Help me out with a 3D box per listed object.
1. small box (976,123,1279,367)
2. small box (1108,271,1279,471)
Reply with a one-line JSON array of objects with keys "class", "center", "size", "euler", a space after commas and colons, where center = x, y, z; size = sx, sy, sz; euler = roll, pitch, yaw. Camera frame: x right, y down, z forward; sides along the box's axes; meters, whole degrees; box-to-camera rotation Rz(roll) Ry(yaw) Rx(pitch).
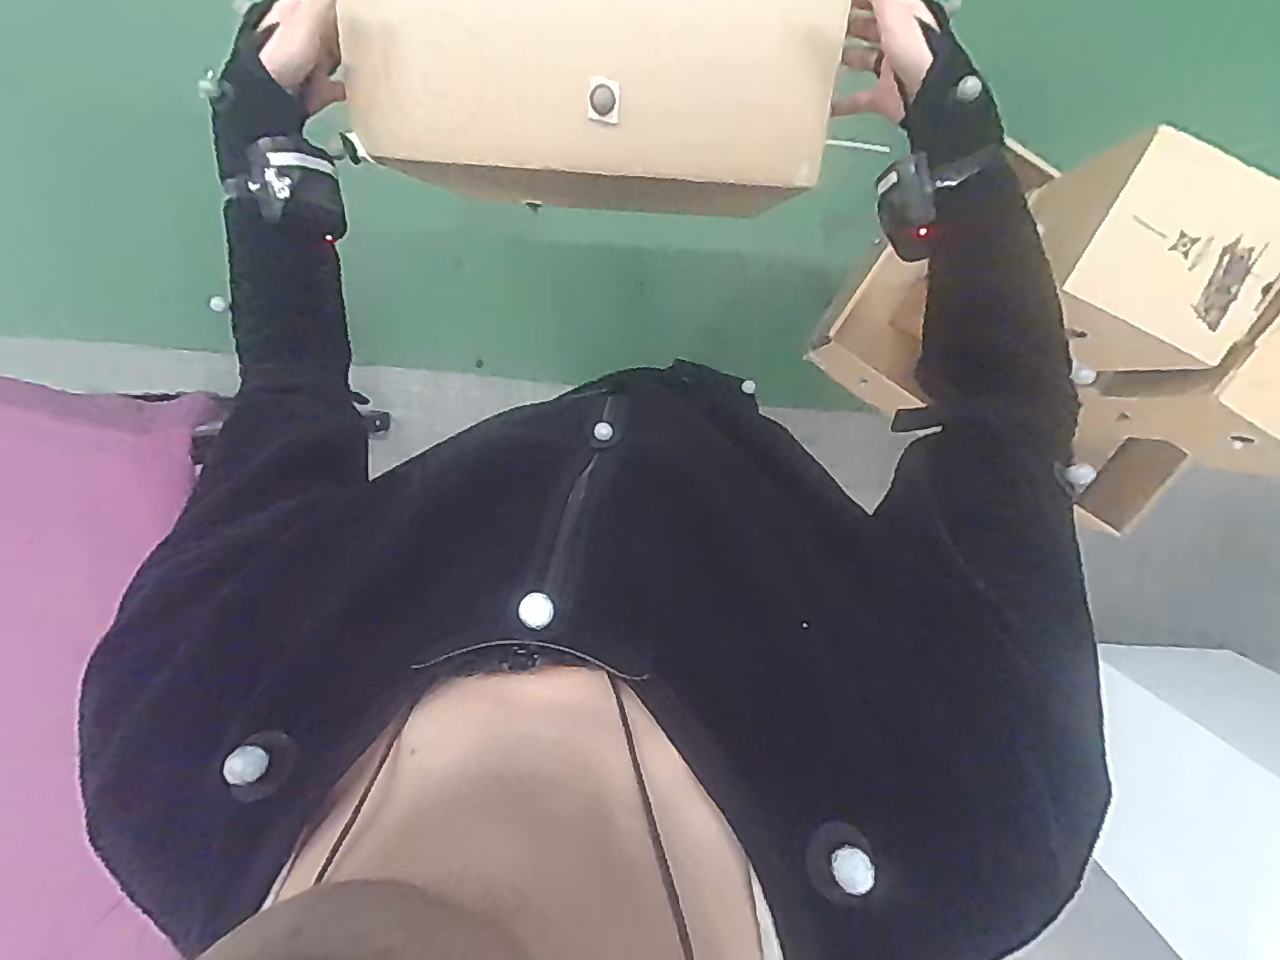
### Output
[{"class": "small box", "center": [0.523, -0.233, 0.588], "size": [0.179, 0.176, 0.168], "euler": [26, 100, 0]}, {"class": "small box", "center": [0.695, -0.117, 0.600], "size": [0.179, 0.176, 0.168], "euler": [34, 101, 1]}]
